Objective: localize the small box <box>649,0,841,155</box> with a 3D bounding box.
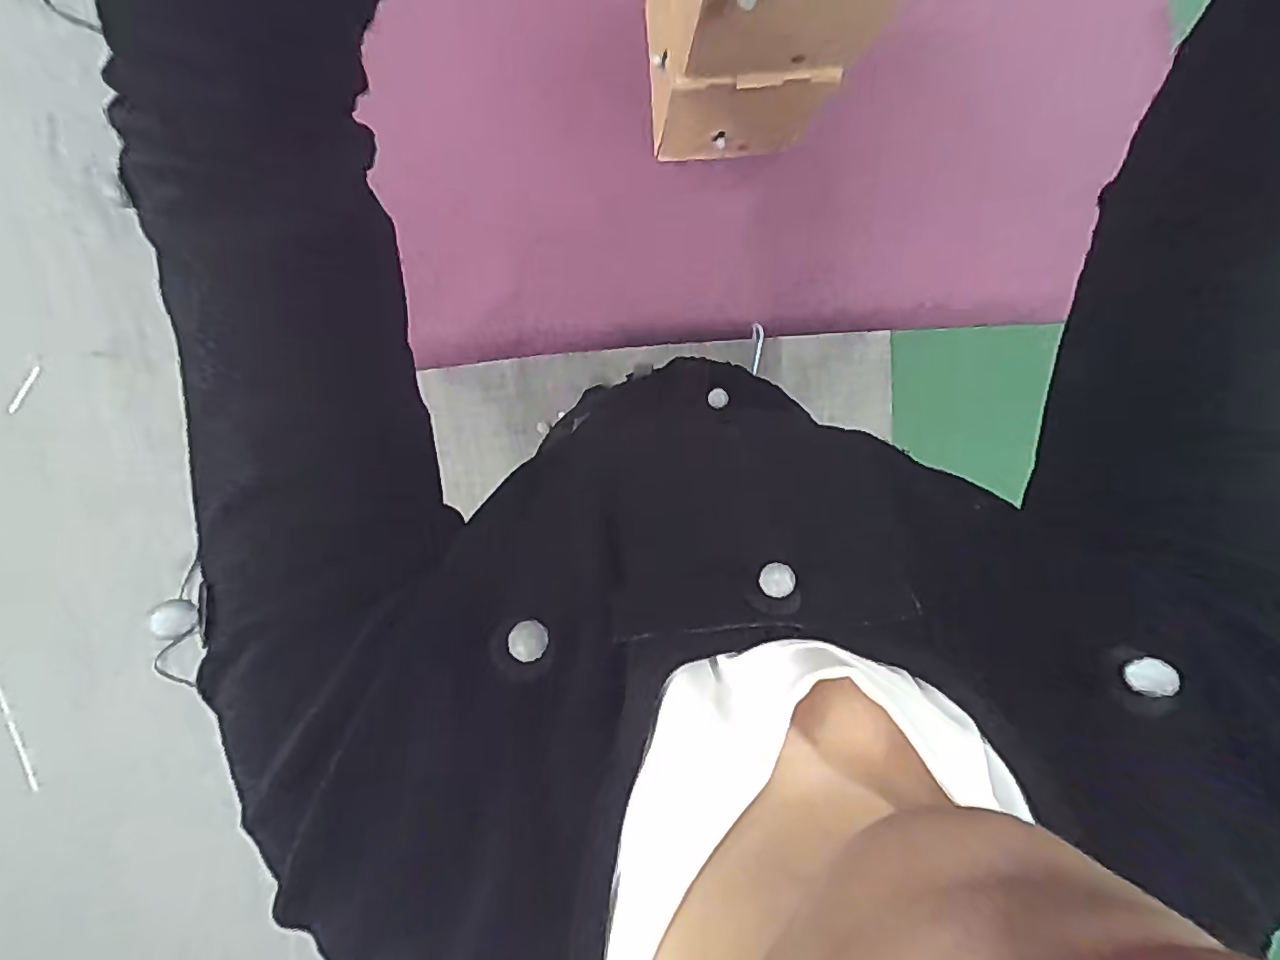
[{"bbox_3d":[0.101,-0.480,0.580,0.168,0.176,0.179,-5,101,-2],"label":"small box"}]
